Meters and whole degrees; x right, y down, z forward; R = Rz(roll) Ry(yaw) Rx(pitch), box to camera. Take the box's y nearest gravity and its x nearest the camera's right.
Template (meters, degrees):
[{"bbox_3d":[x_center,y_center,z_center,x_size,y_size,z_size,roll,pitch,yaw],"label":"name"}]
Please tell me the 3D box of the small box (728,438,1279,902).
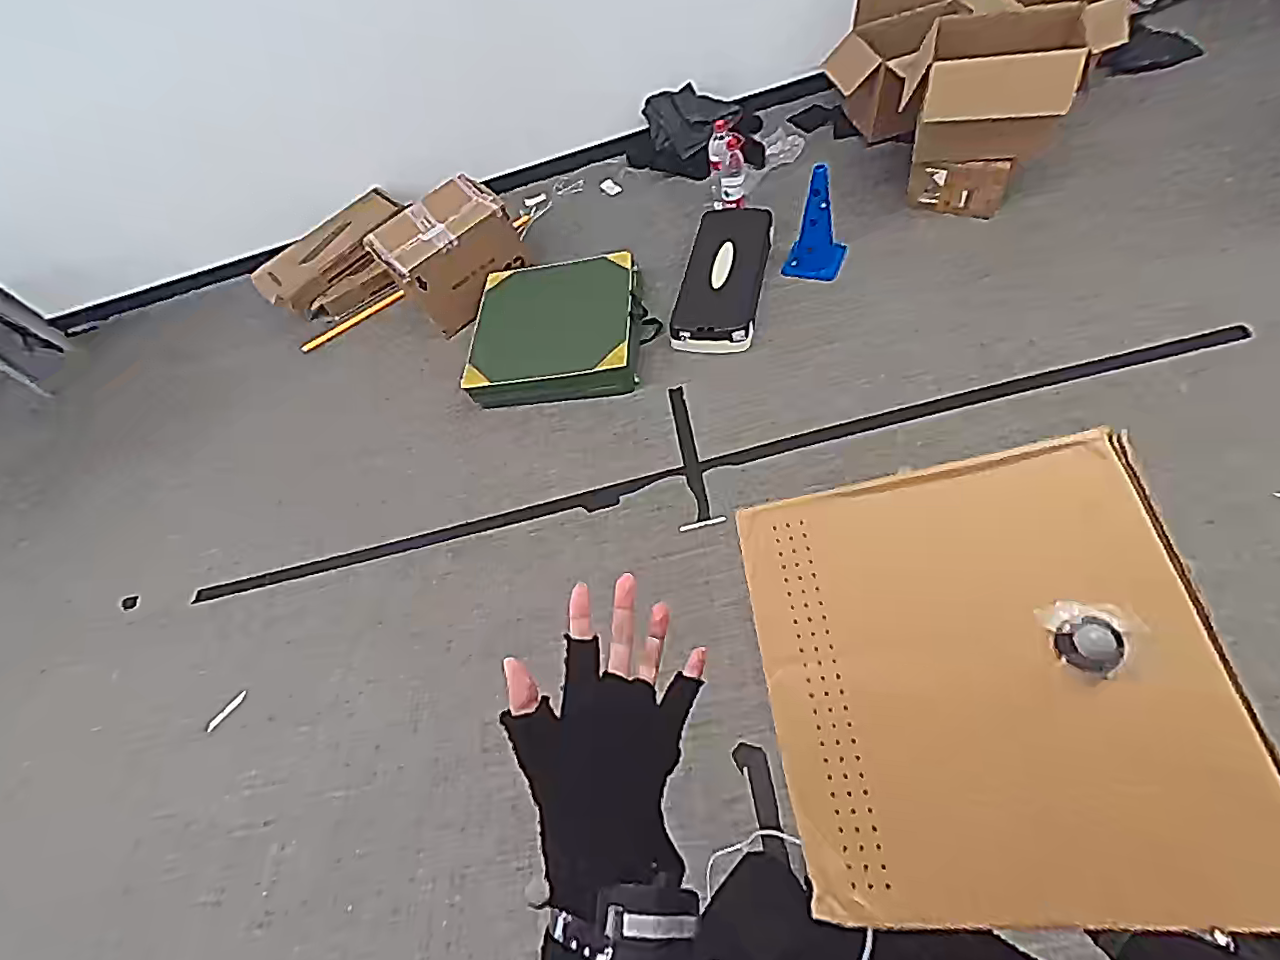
[{"bbox_3d":[0.156,0.103,0.302,0.176,0.168,0.179,-15,68,19],"label":"small box"}]
